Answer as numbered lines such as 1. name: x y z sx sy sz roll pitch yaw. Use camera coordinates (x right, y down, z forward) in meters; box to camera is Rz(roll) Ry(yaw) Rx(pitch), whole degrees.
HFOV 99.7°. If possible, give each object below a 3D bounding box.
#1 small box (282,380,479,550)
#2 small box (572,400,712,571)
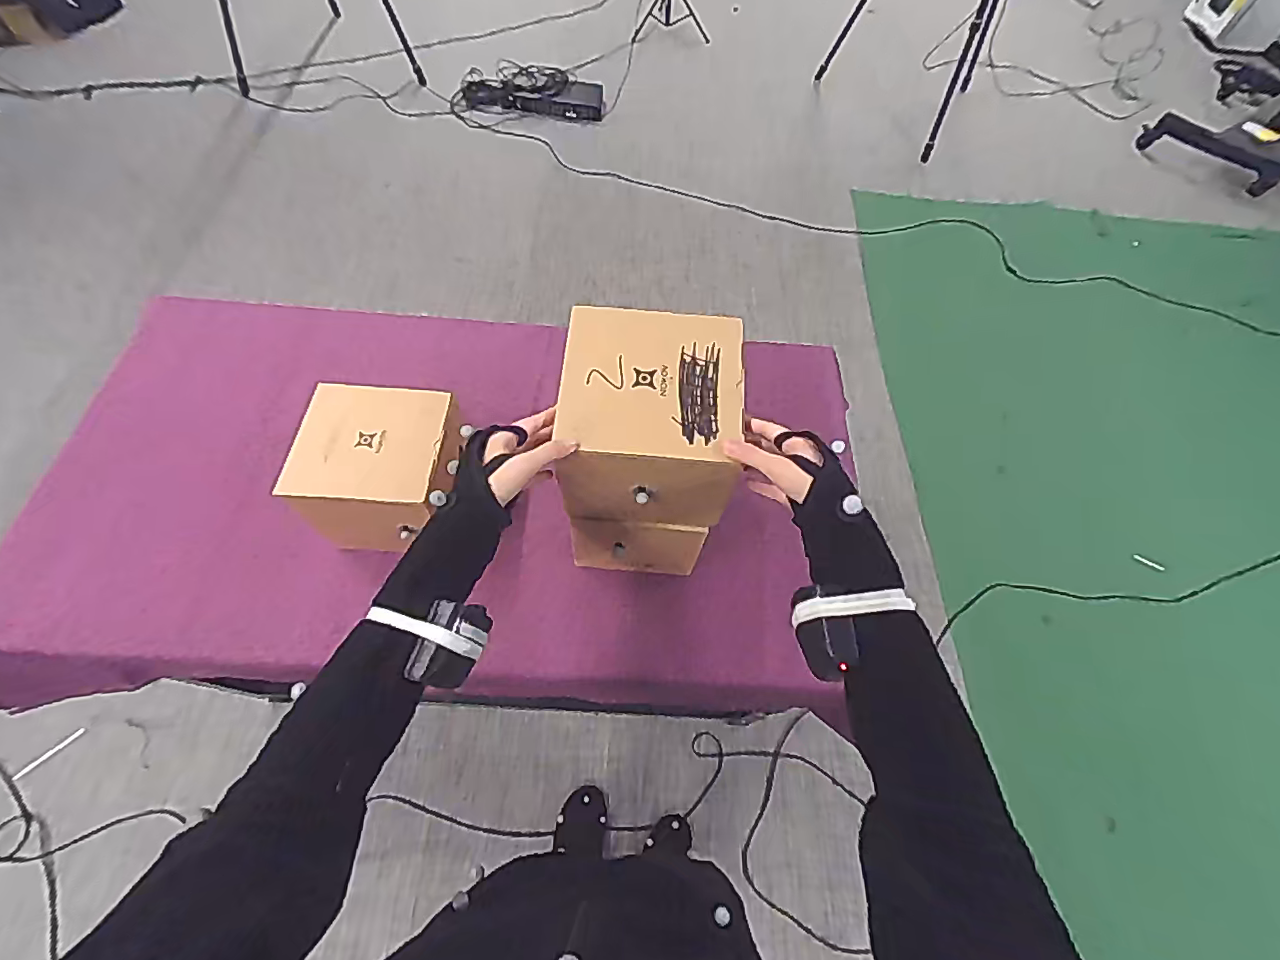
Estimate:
1. small box: -0.330 -0.013 0.736 0.179 0.176 0.168 4 60 -2
2. small box: 0.004 0.015 0.746 0.168 0.176 0.179 5 60 -1
